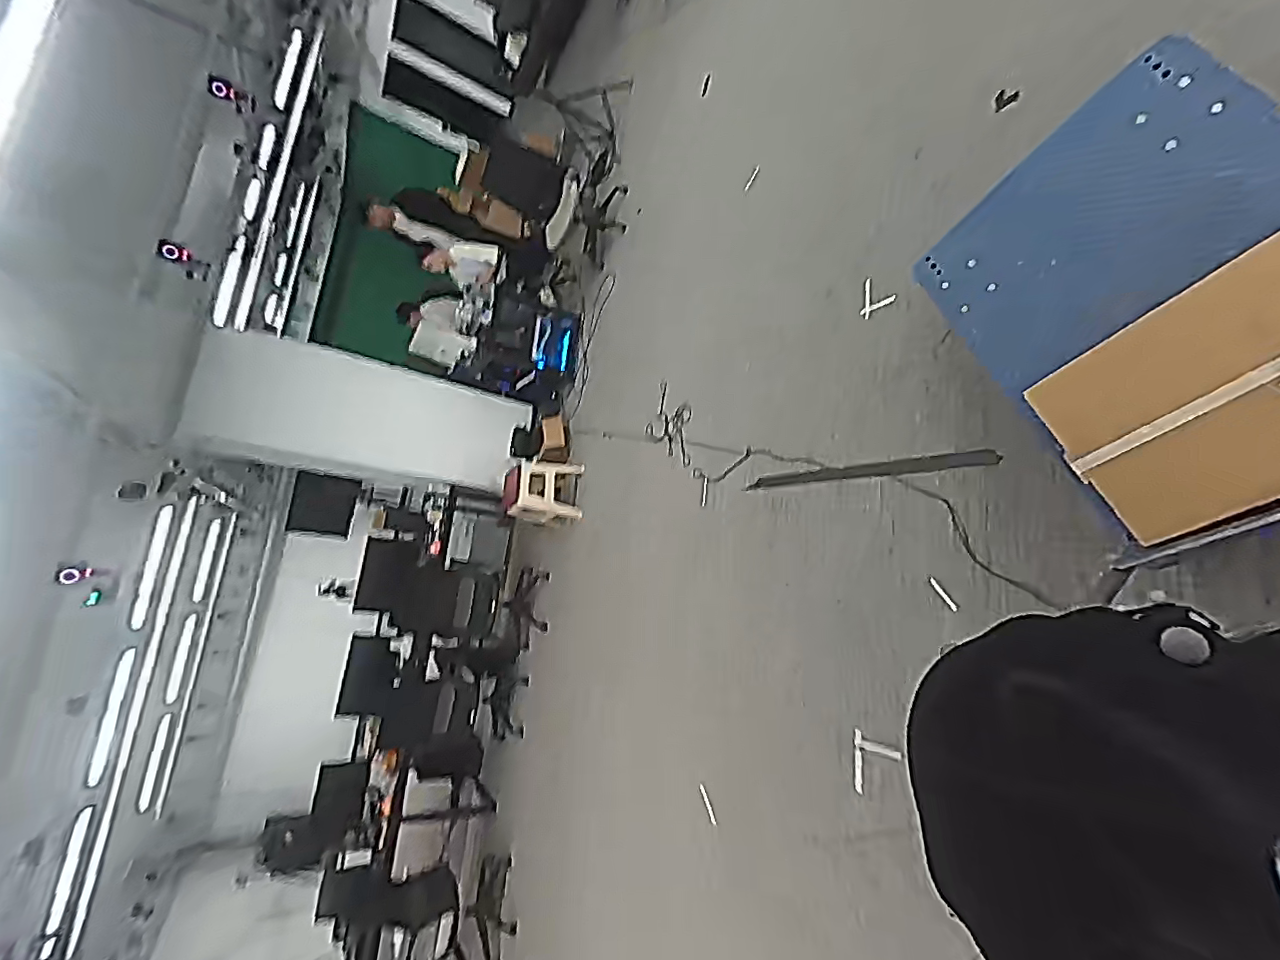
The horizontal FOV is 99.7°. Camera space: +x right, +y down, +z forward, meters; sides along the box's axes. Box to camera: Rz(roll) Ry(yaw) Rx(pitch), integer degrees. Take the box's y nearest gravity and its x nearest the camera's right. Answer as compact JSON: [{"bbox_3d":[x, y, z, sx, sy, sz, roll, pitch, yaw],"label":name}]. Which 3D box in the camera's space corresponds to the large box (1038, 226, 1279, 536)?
[{"bbox_3d":[0.974,-0.149,0.864,0.408,0.320,0.320,-46,59,42],"label":"large box"}]
